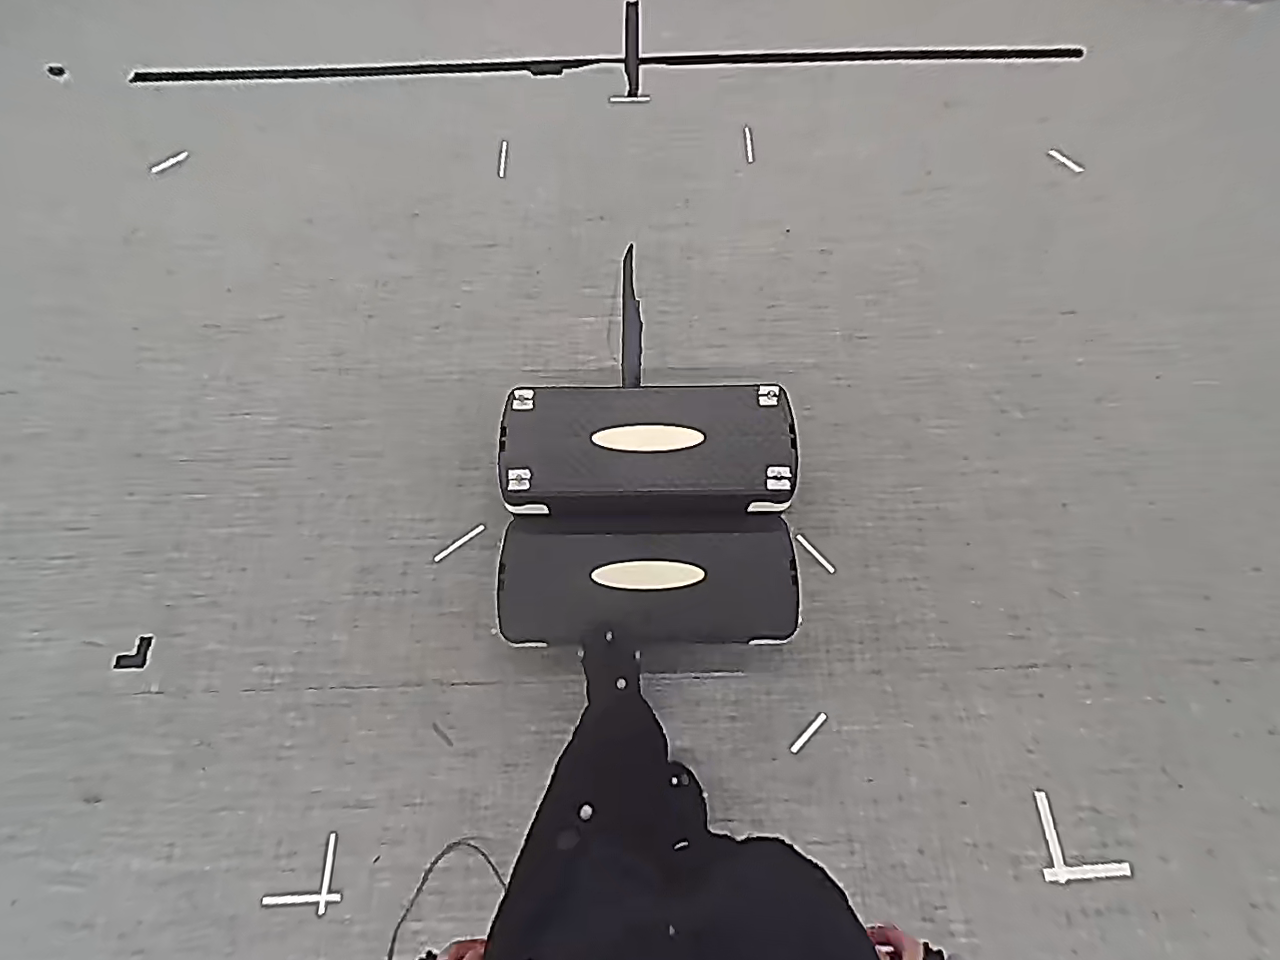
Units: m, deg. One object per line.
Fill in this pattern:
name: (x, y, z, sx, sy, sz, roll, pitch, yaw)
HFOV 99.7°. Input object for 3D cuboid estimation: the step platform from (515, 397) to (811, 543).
step platform: (0.050, -0.024, 1.292, 0.684, 0.204, 0.286, 3, 68, 1)
